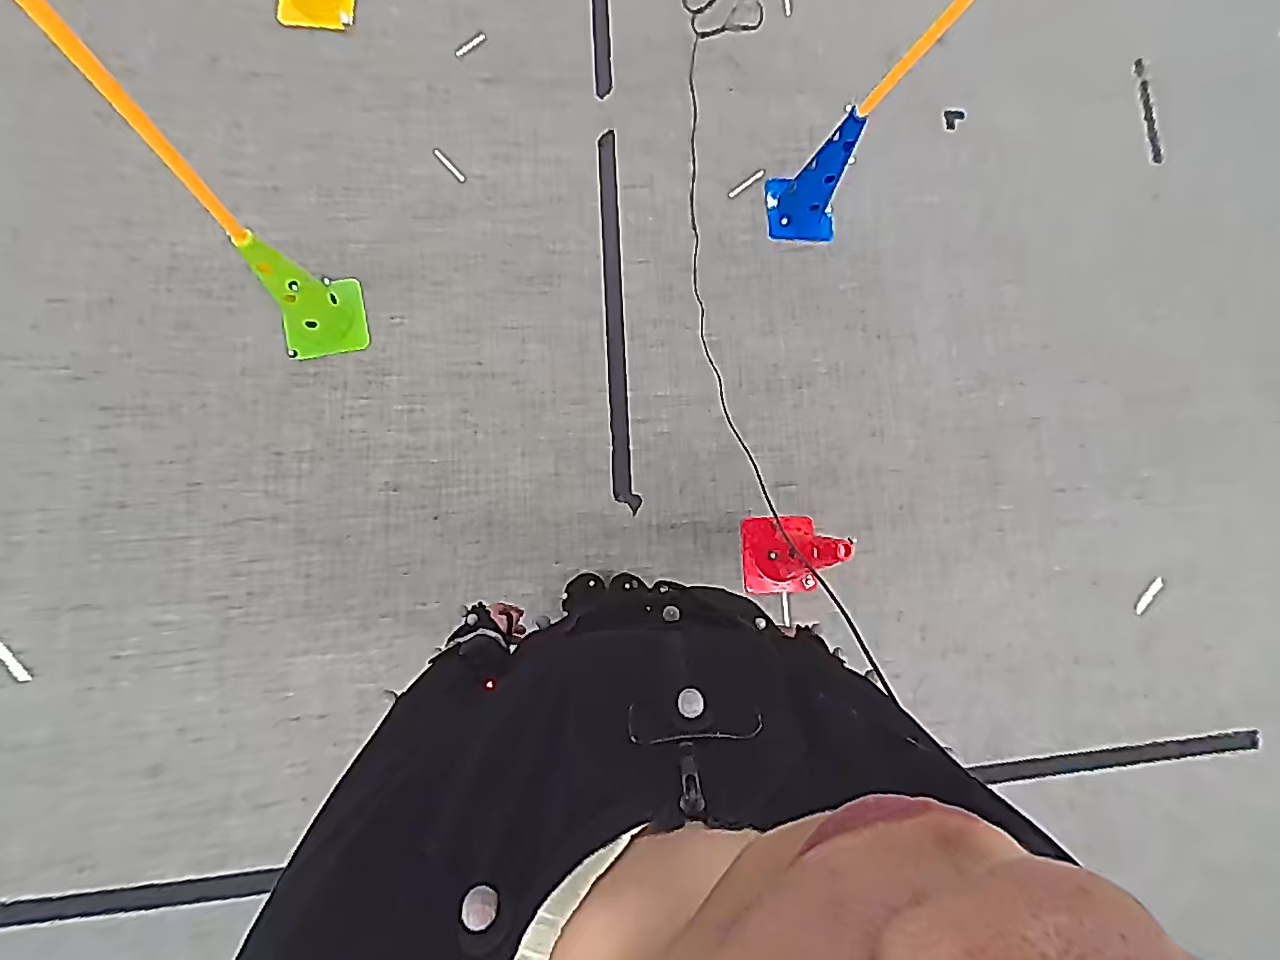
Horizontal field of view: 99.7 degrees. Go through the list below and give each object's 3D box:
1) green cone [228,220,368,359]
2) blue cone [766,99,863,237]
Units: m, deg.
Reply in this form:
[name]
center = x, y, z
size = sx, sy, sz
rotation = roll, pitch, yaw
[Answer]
[green cone]
center = -0.797, -0.451, 1.227
size = 0.200, 0.368, 0.202
rotation = -13, 80, -9
[blue cone]
center = 0.491, -0.842, 1.453
size = 0.193, 0.380, 0.192
rotation = 0, 80, -7
